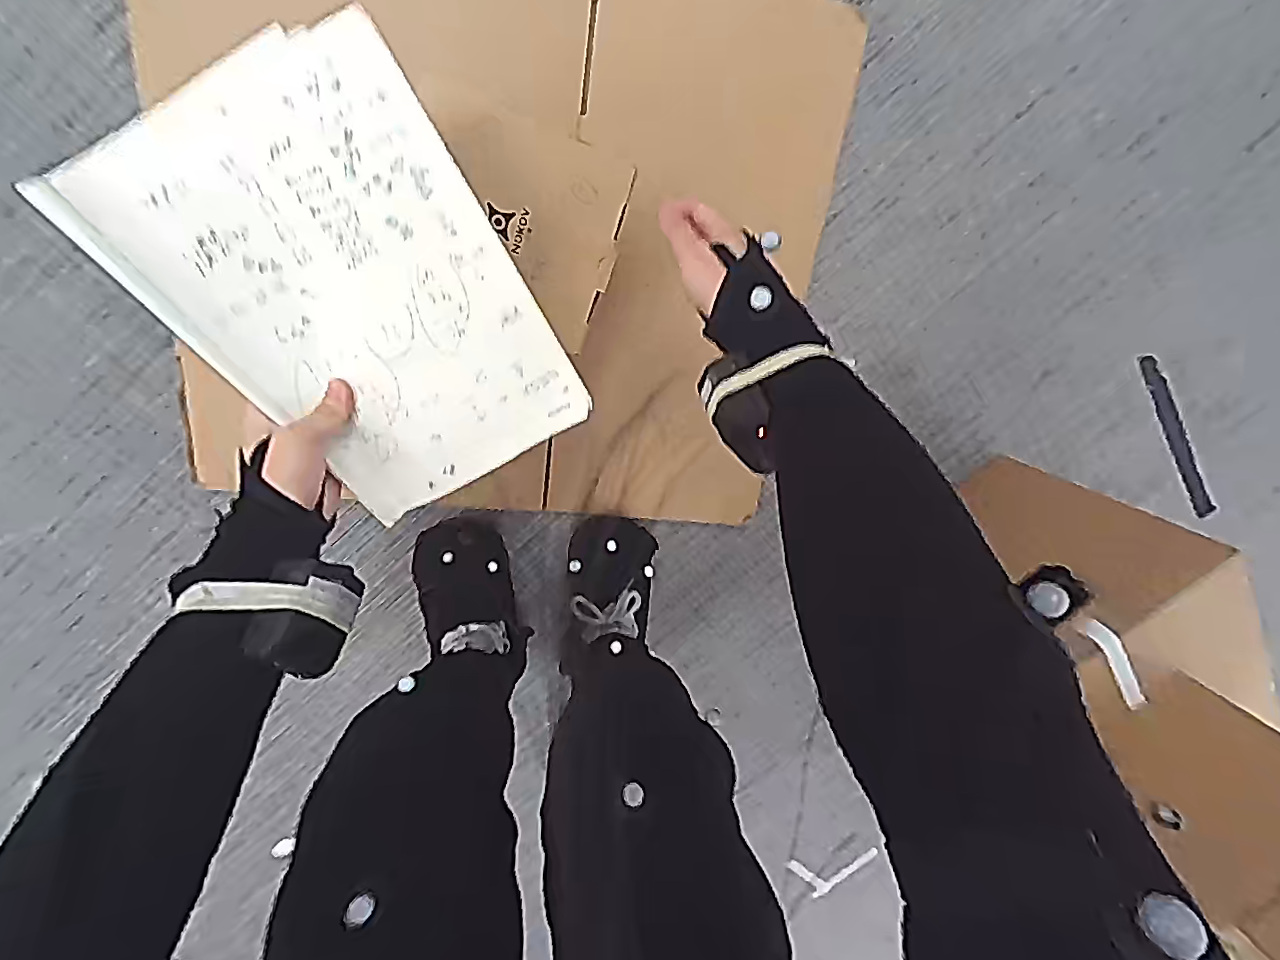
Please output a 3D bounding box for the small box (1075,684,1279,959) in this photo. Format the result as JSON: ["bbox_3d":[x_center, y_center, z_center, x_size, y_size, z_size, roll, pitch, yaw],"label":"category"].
[{"bbox_3d":[0.590,0.349,0.544,0.179,0.176,0.168,-43,113,7],"label":"small box"}]
